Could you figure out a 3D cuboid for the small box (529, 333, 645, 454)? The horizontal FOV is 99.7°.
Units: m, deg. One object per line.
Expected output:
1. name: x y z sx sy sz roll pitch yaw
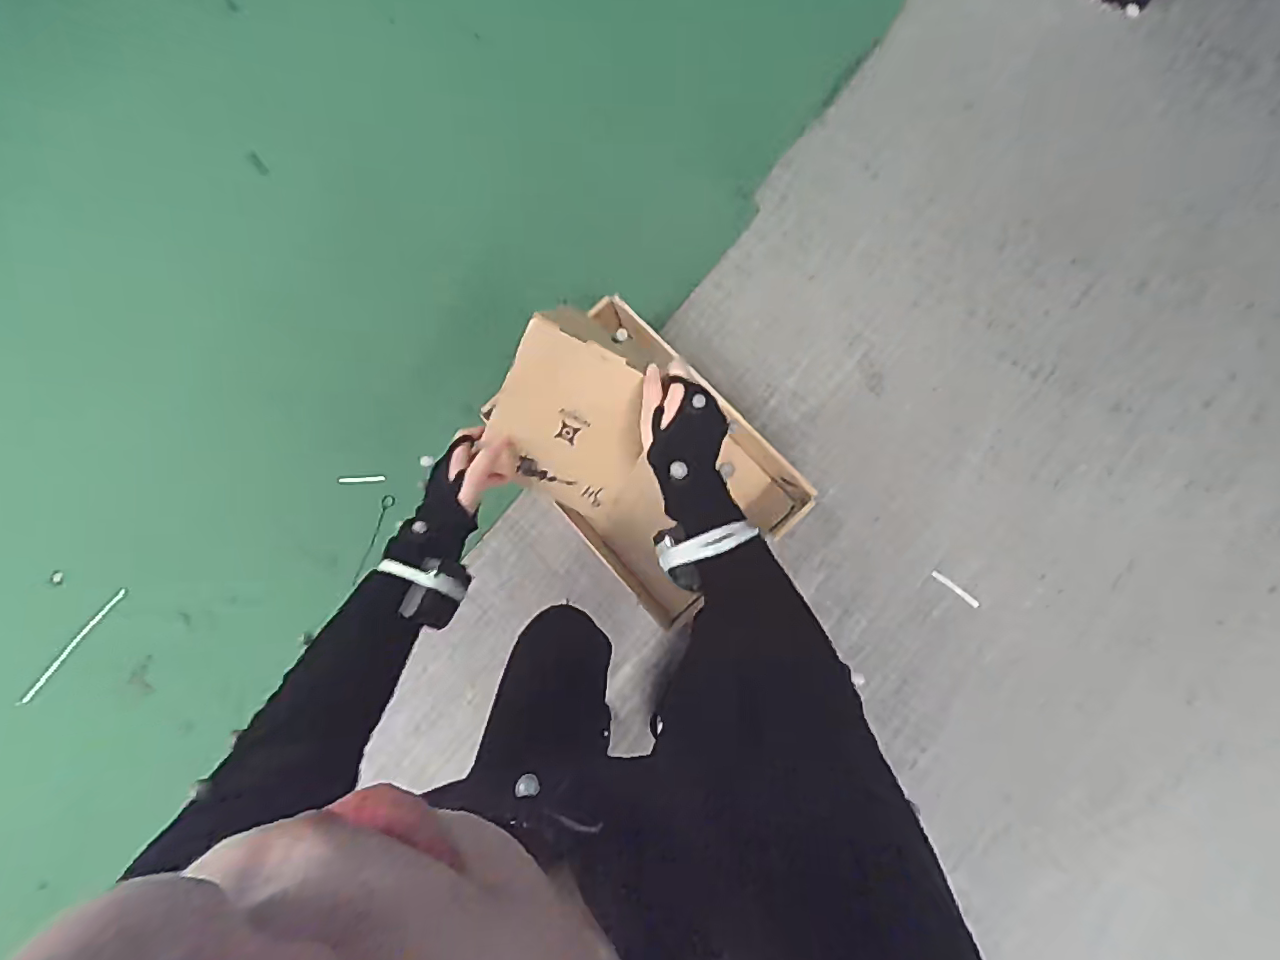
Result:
1. small box: -0.106 -0.179 1.181 0.179 0.176 0.168 -40 79 -1
